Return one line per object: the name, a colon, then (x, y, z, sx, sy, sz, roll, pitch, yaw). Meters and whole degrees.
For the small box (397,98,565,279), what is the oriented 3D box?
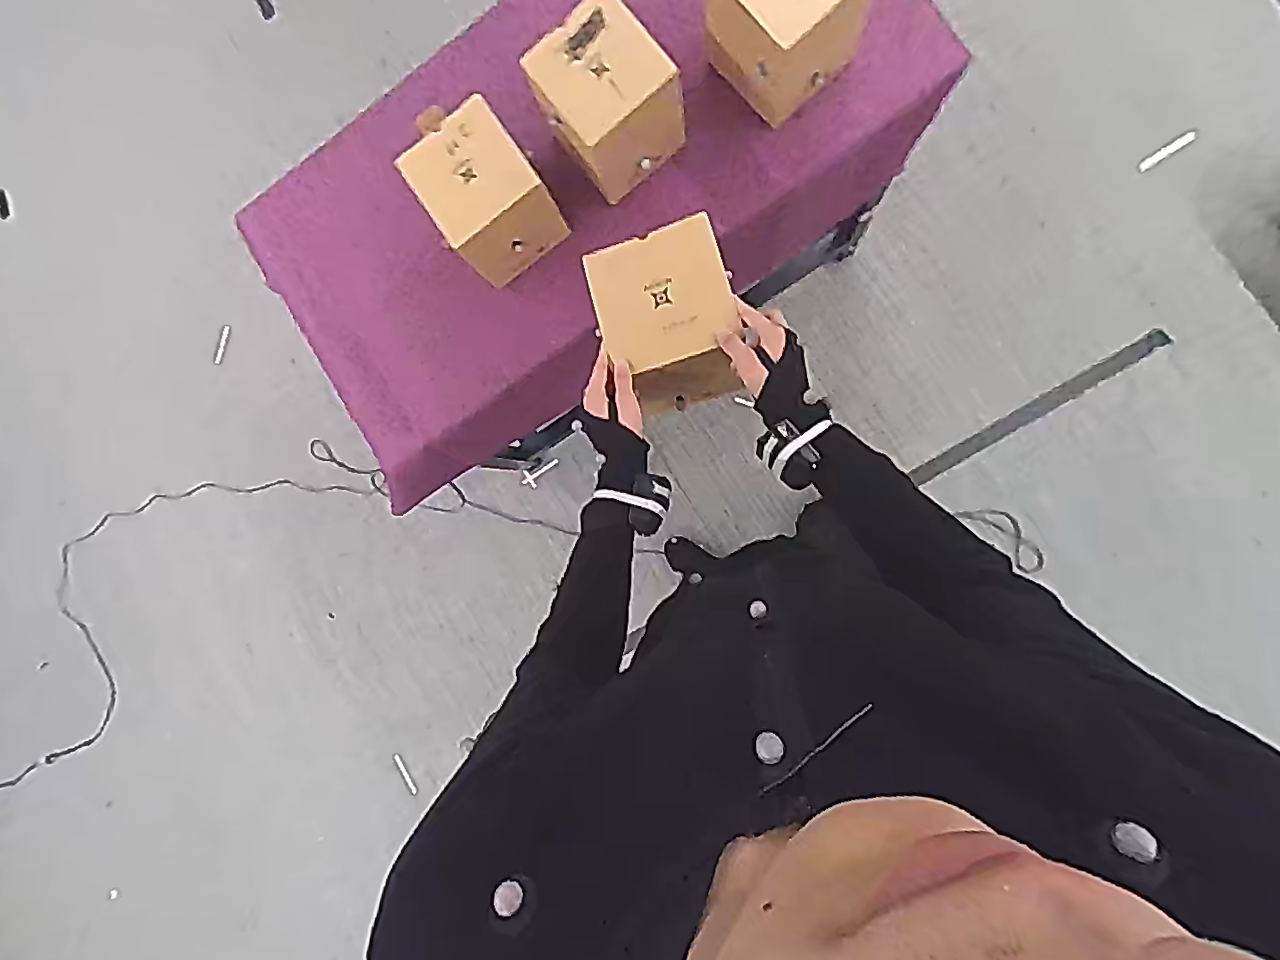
small box: (-0.250, -0.460, 0.894, 0.168, 0.176, 0.179, -35, 84, 7)

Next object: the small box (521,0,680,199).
small box: (-0.054, -0.598, 0.866, 0.168, 0.176, 0.179, -38, 84, 6)

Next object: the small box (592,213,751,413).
small box: (0.048, -0.214, 0.735, 0.168, 0.176, 0.179, -16, 76, 9)
